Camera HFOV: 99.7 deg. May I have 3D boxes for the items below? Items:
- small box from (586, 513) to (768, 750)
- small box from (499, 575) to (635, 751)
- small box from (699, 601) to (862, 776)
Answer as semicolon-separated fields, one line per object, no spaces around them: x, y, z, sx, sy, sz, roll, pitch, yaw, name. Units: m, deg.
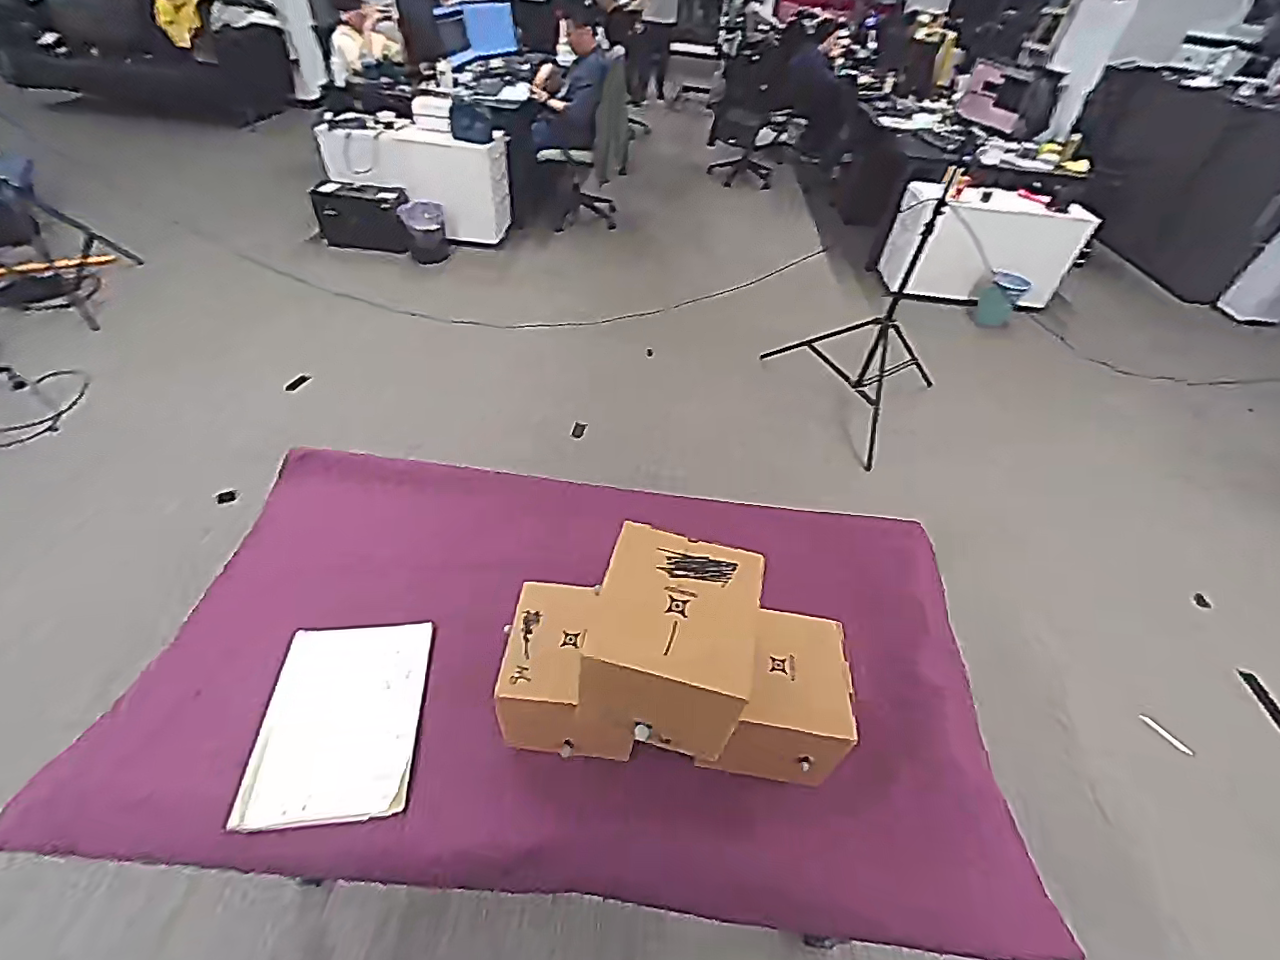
0.038;0.170;0.612;0.168;0.176;0.179;13;45;6;small box
-0.082;0.256;0.747;0.179;0.176;0.168;7;44;-1;small box
0.181;0.287;0.746;0.179;0.176;0.168;8;43;4;small box
